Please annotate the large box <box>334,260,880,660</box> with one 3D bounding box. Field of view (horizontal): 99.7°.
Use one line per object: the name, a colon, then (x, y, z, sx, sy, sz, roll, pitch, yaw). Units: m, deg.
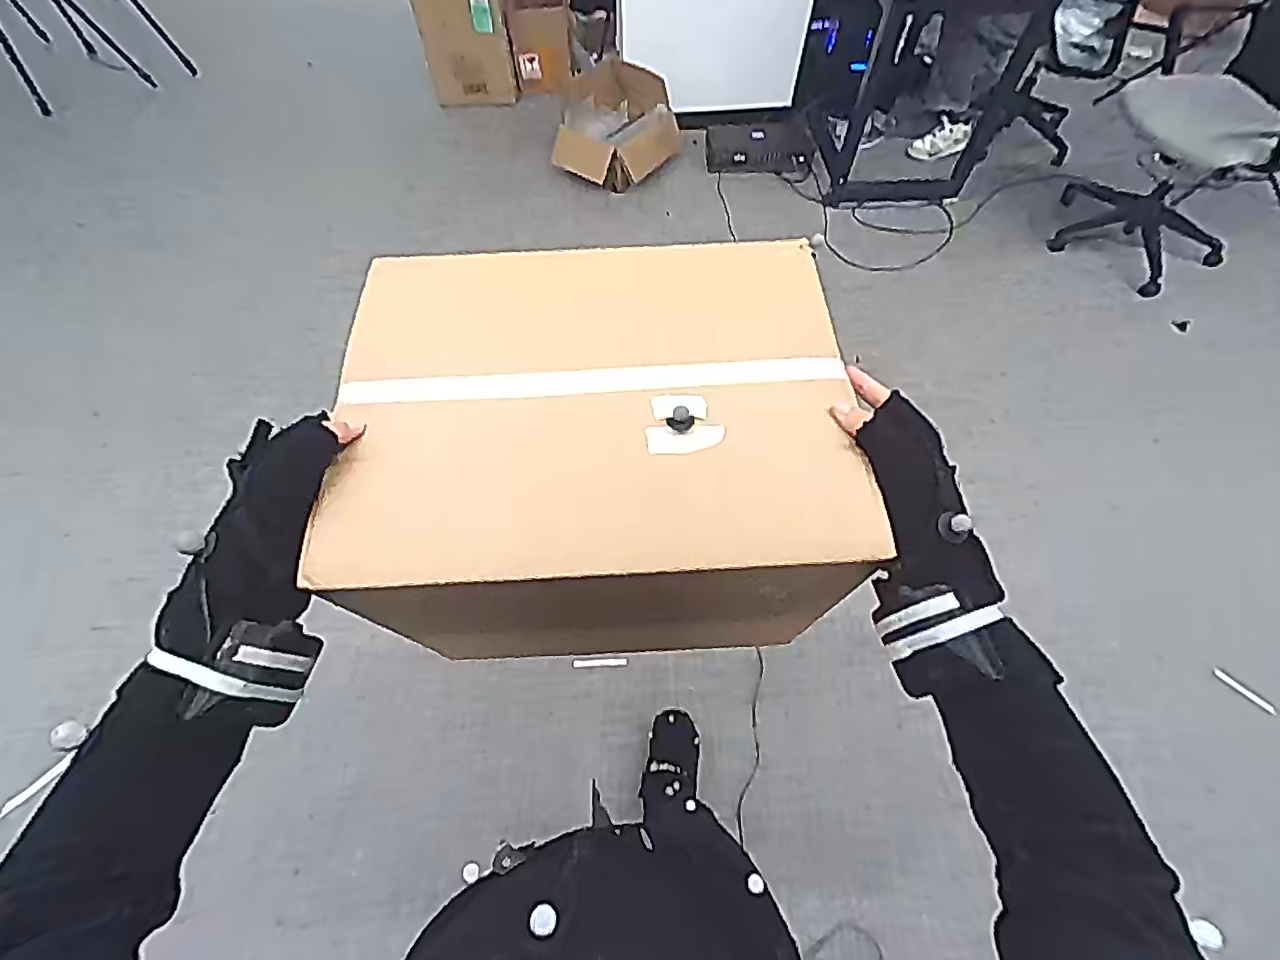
large box: (-0.031, -0.001, 0.587, 0.408, 0.320, 0.320, -3, 63, -1)
